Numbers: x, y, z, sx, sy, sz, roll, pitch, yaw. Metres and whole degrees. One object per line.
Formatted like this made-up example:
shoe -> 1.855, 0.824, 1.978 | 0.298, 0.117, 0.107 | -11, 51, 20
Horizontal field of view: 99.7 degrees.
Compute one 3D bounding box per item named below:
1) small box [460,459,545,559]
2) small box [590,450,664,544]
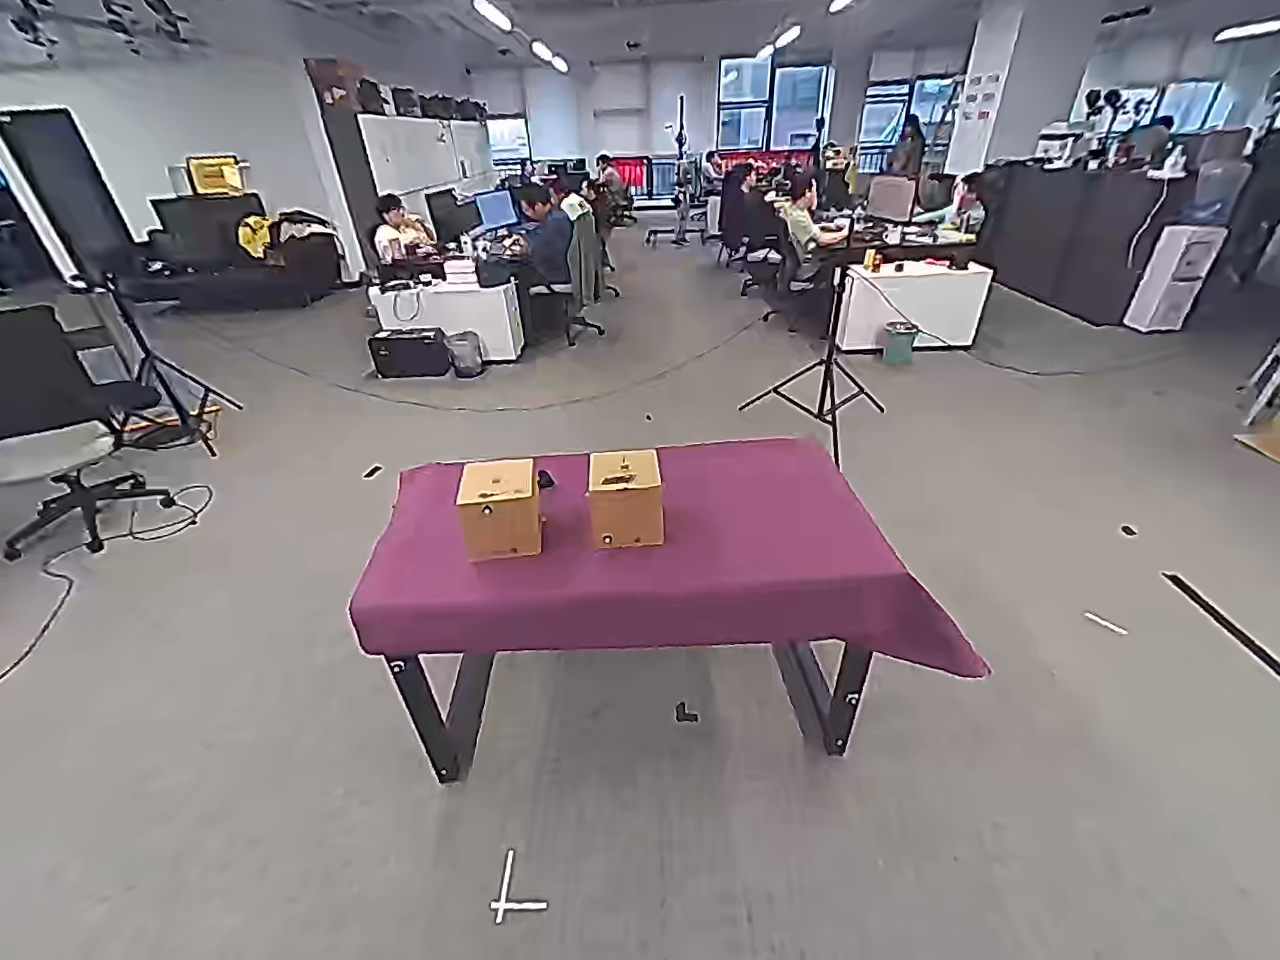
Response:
small box -> -0.324, 0.067, 1.301 | 0.168, 0.176, 0.179 | -6, 32, -6
small box -> -0.030, 0.044, 1.319 | 0.168, 0.176, 0.179 | -3, 31, -1
